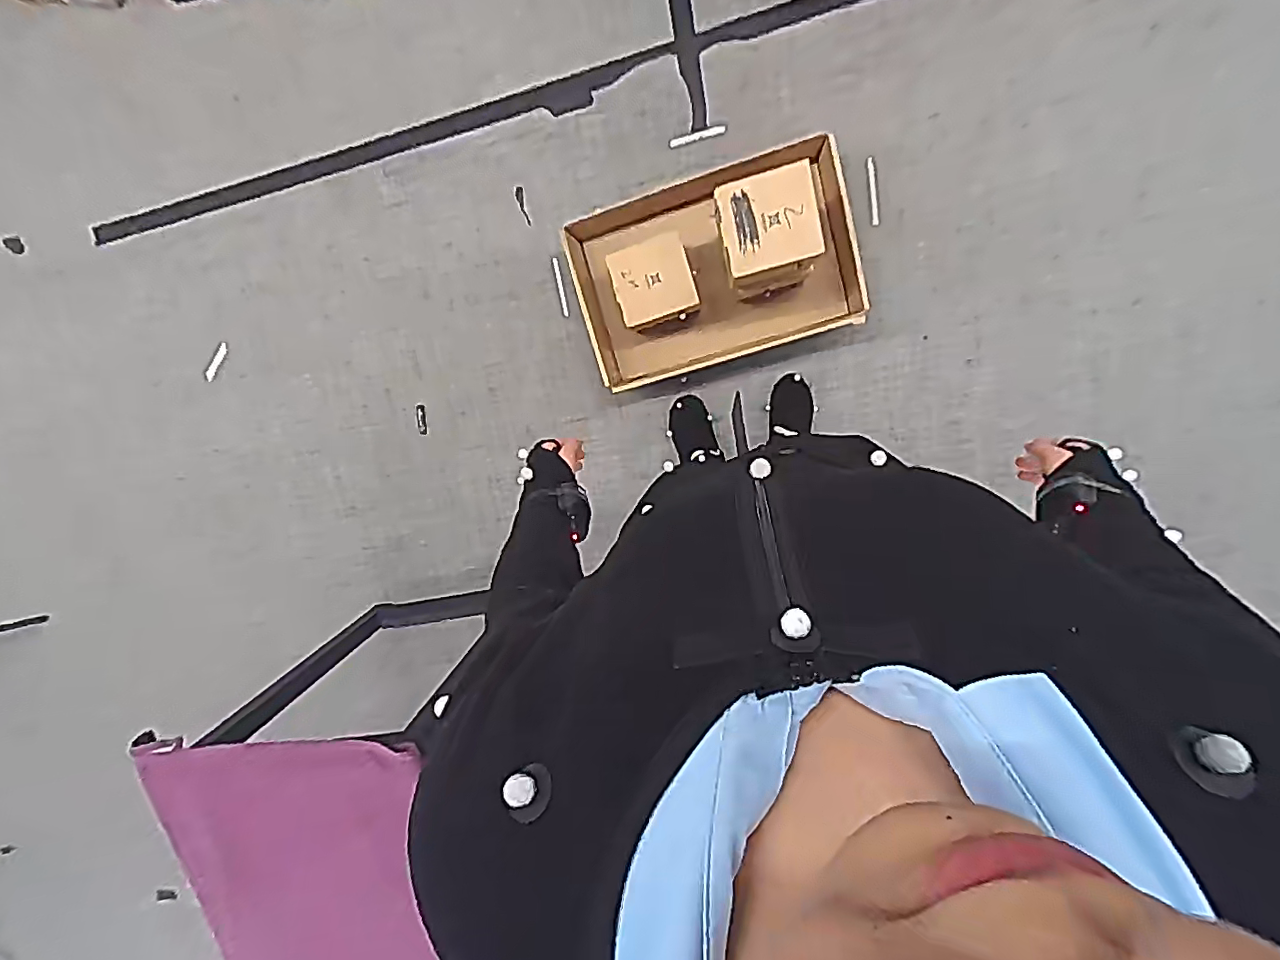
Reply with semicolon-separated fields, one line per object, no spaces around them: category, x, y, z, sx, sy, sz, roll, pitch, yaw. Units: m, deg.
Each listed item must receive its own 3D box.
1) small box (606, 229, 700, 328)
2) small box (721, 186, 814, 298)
small box;0.036;-0.466;1.276;0.179;0.176;0.168;-16;100;10
small box;0.283;-0.530;1.230;0.168;0.176;0.179;-14;101;12
